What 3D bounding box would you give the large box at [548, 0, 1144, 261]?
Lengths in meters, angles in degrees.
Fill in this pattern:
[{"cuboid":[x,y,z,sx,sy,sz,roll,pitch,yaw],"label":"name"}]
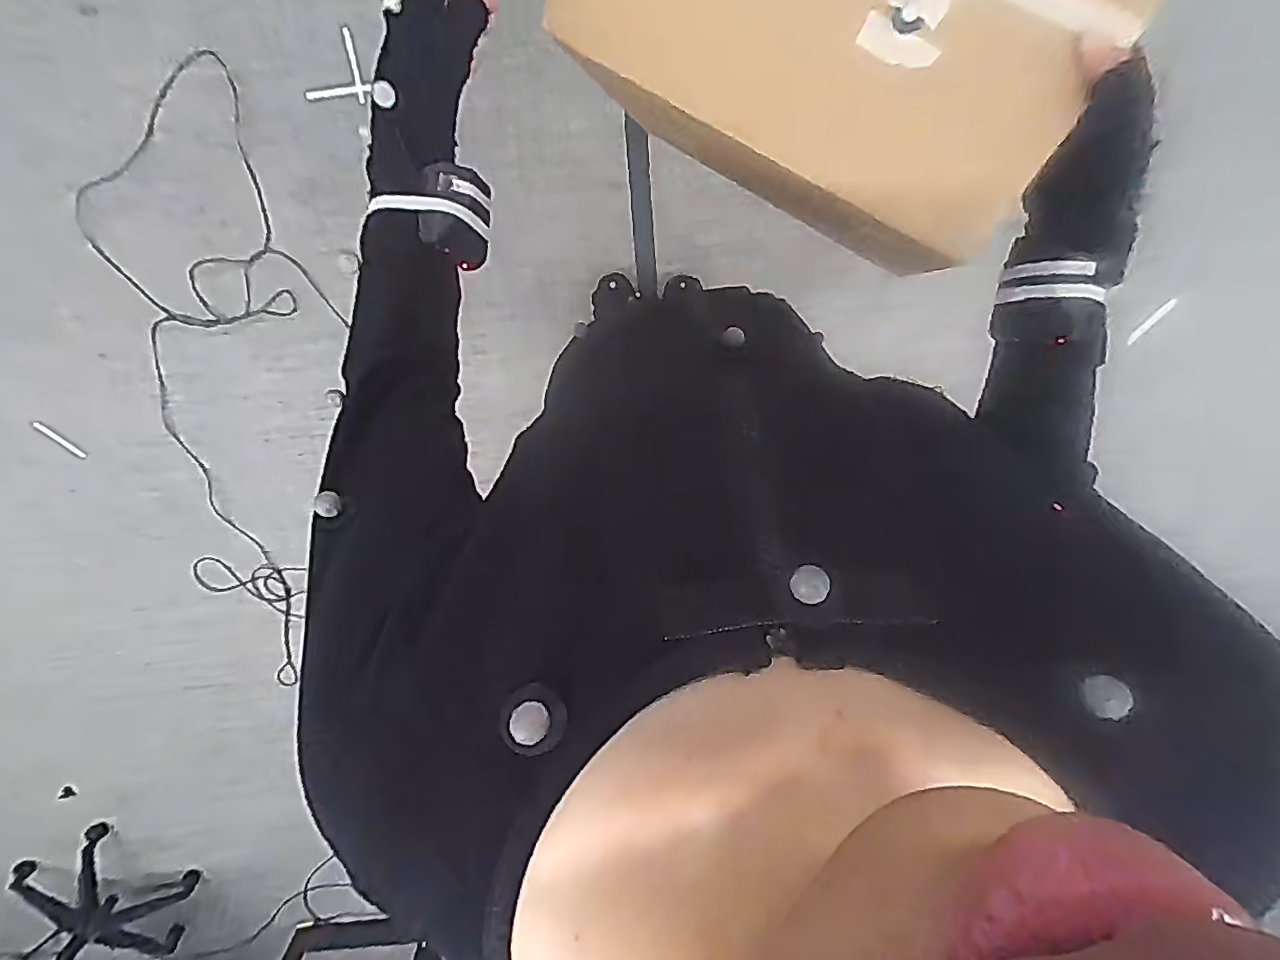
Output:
[{"cuboid":[0.193,-0.451,0.515,0.408,0.320,0.320,31,115,3],"label":"large box"}]
